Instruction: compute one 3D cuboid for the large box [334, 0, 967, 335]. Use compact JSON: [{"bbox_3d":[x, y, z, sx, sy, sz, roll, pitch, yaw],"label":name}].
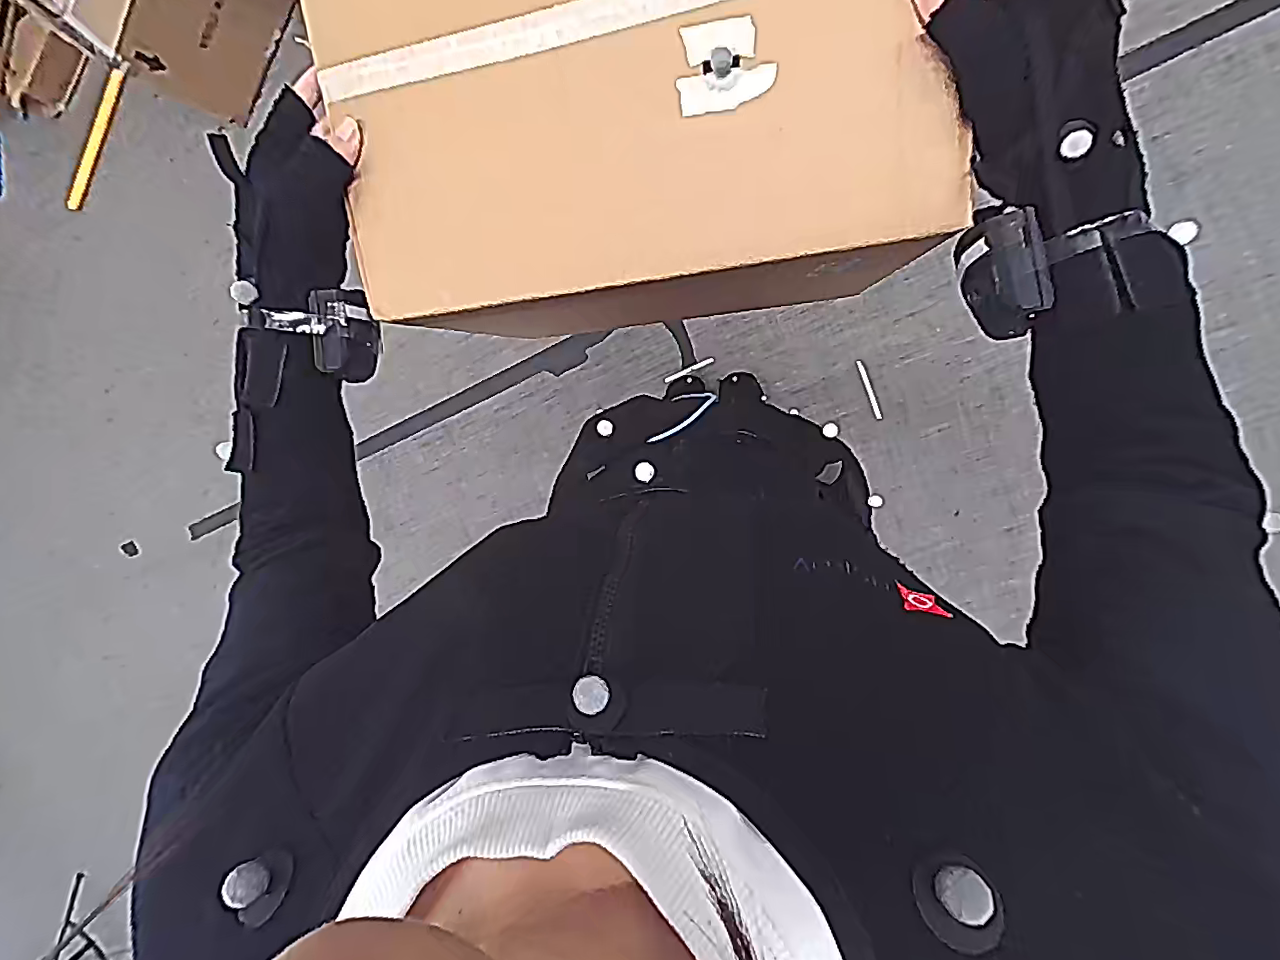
[{"bbox_3d":[0.012,-0.324,0.488,0.408,0.320,0.320,-5,102,10],"label":"large box"}]
